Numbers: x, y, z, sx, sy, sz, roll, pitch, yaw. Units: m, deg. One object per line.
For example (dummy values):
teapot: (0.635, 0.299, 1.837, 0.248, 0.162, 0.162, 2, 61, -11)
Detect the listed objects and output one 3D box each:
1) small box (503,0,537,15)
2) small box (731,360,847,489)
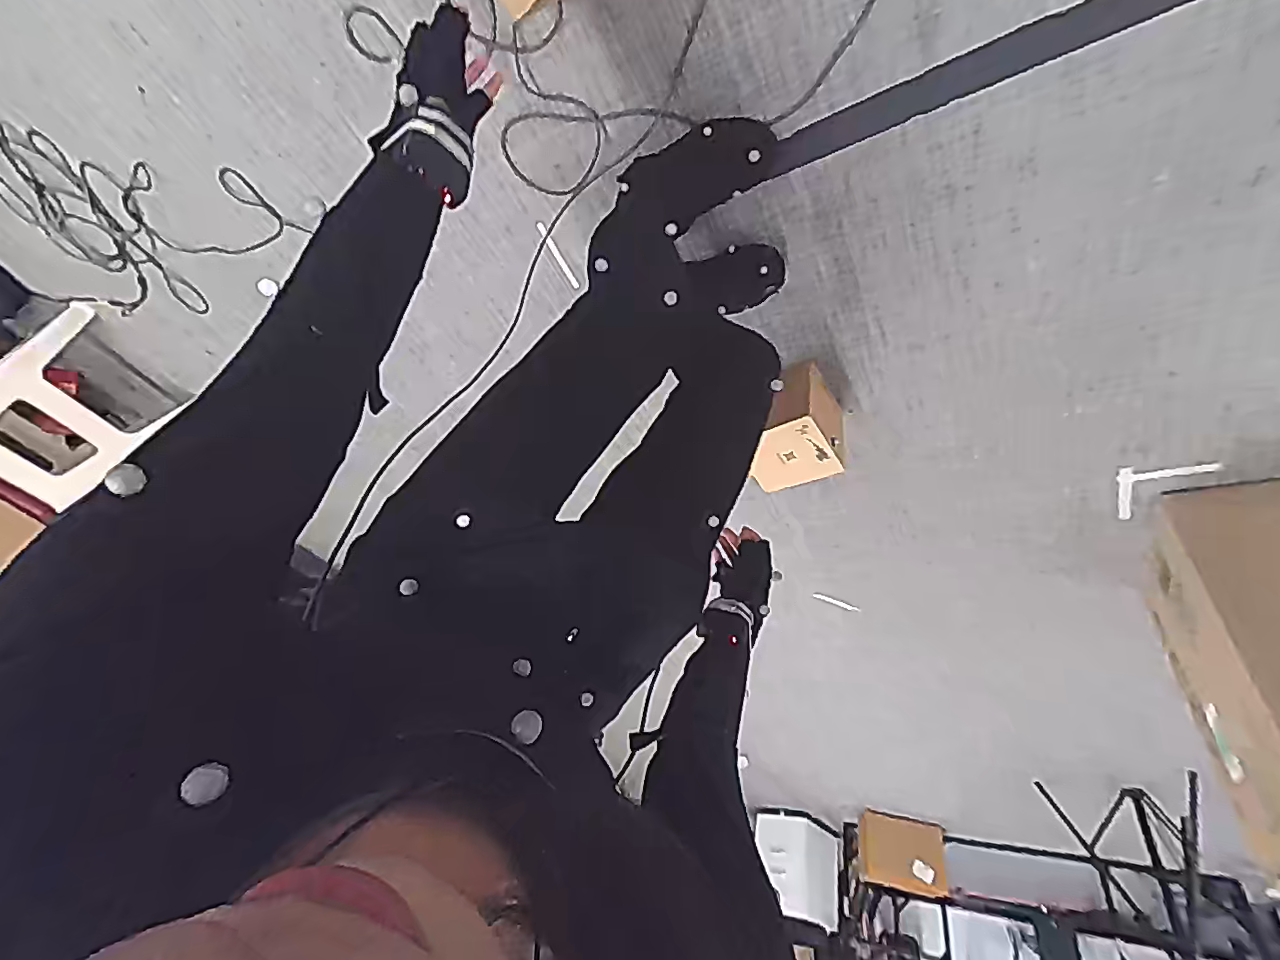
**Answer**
small box: (-0.112, -0.669, 0.587, 0.179, 0.176, 0.168, -23, 129, 35)
small box: (0.310, -0.112, 1.104, 0.179, 0.176, 0.168, -18, 130, 36)
